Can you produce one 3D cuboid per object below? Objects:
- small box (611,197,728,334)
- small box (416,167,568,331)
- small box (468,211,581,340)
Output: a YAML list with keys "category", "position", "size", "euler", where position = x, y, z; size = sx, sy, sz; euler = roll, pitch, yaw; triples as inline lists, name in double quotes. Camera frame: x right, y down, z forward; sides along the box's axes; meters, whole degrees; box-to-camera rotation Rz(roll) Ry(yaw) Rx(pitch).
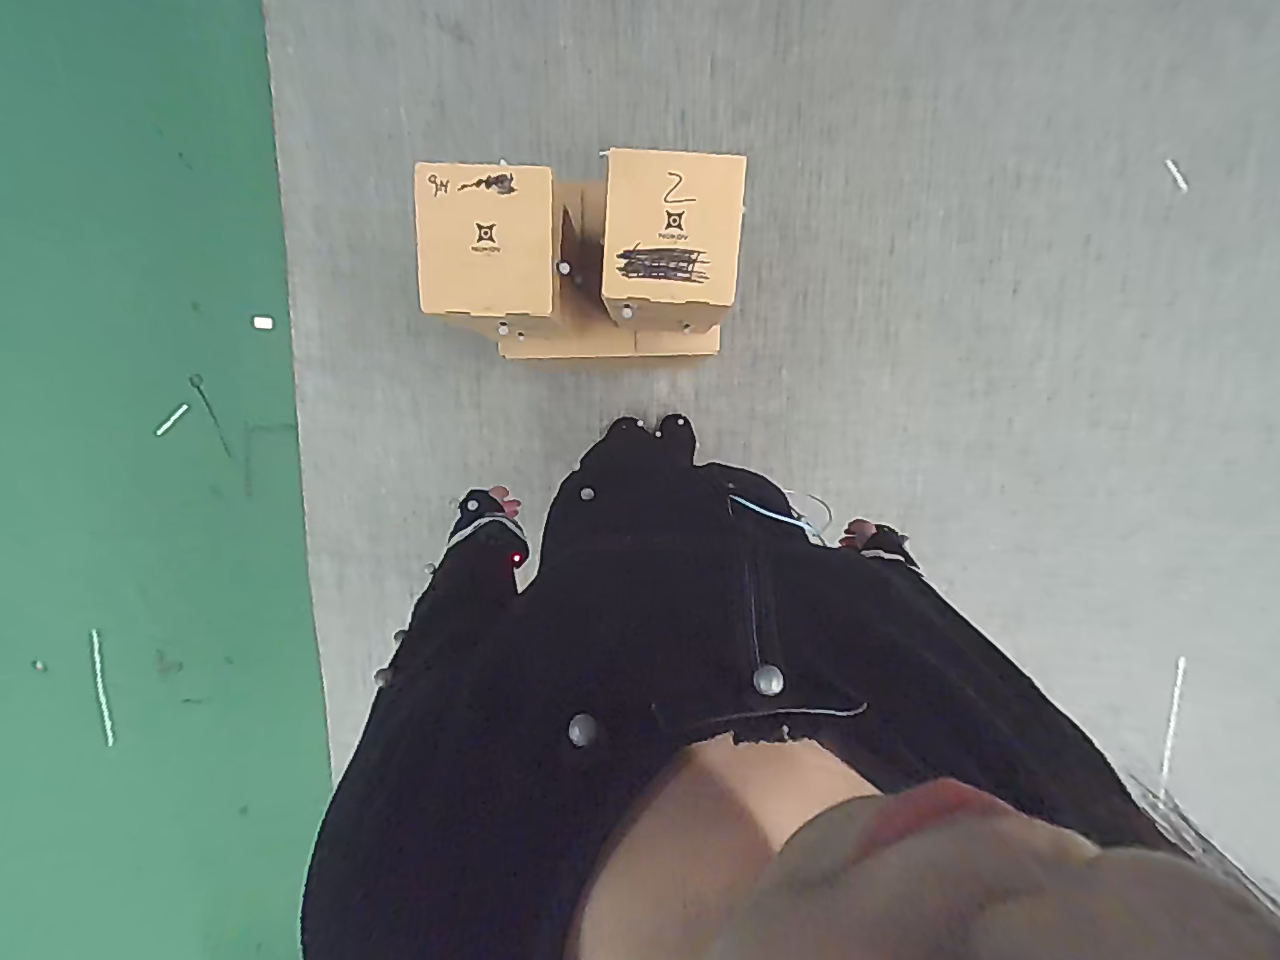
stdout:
- category: "small box"
  position: [0.047, -0.343, 0.895]
  size: [0.168, 0.176, 0.179]
  euler: [4, 98, 1]
- category: "small box"
  position: [-0.189, -0.300, 0.739]
  size: [0.168, 0.176, 0.179]
  euler: [2, 100, -1]
- category: "small box"
  position: [-0.189, -0.332, 0.900]
  size: [0.168, 0.176, 0.179]
  euler: [0, 100, -1]
